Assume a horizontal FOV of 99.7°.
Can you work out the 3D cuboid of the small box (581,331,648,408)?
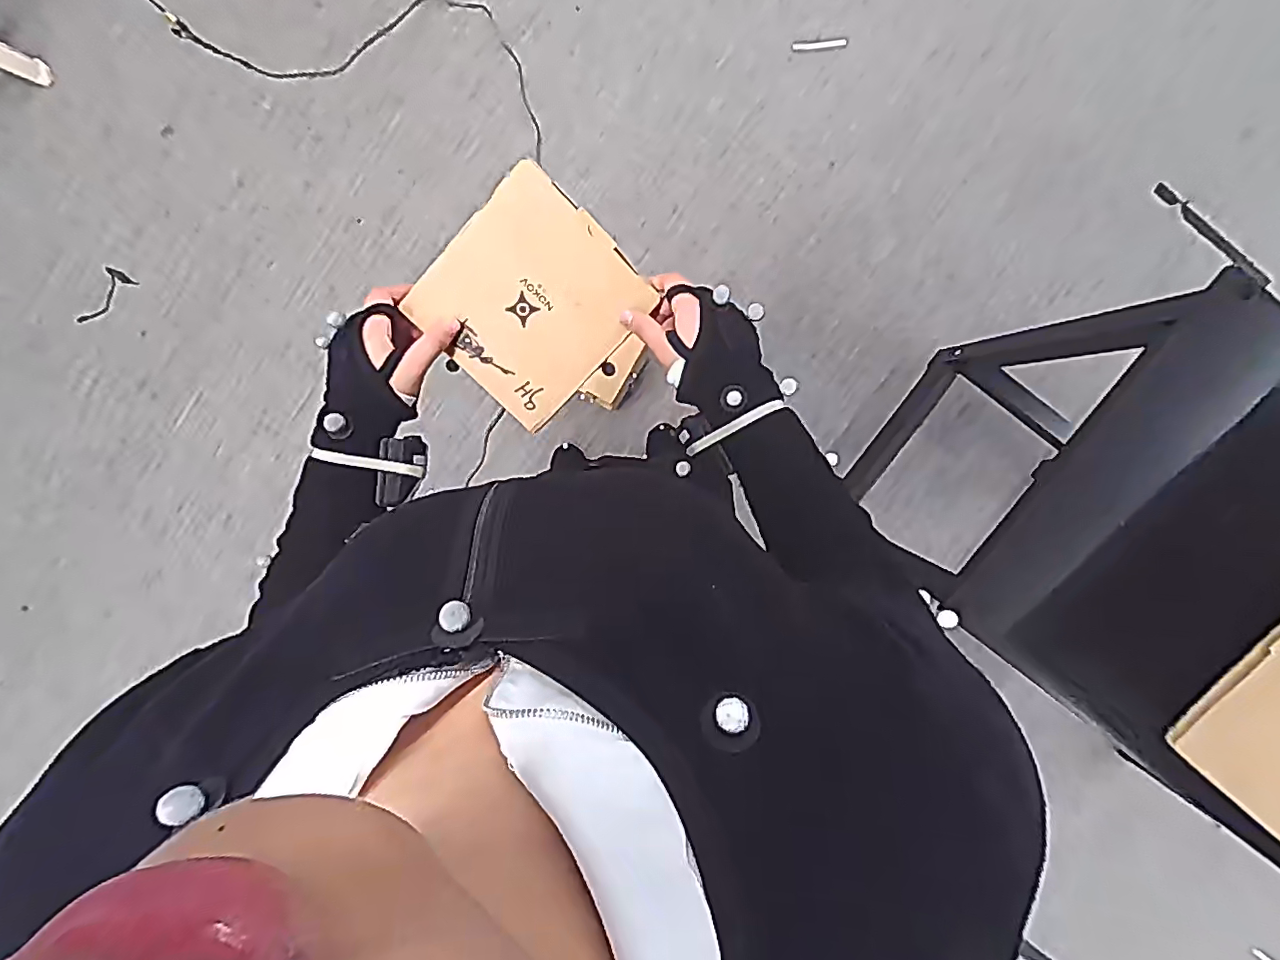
[{"bbox_3d":[-0.093,-0.275,1.221,0.168,0.176,0.179,29,94,-4],"label":"small box"}]

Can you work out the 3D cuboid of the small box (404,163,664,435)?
[{"bbox_3d":[-0.098,-0.175,0.560,0.168,0.176,0.179,43,99,-10],"label":"small box"}]

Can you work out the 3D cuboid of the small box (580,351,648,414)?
[{"bbox_3d":[-0.094,-0.286,1.383,0.168,0.176,0.179,33,96,-3],"label":"small box"}]
